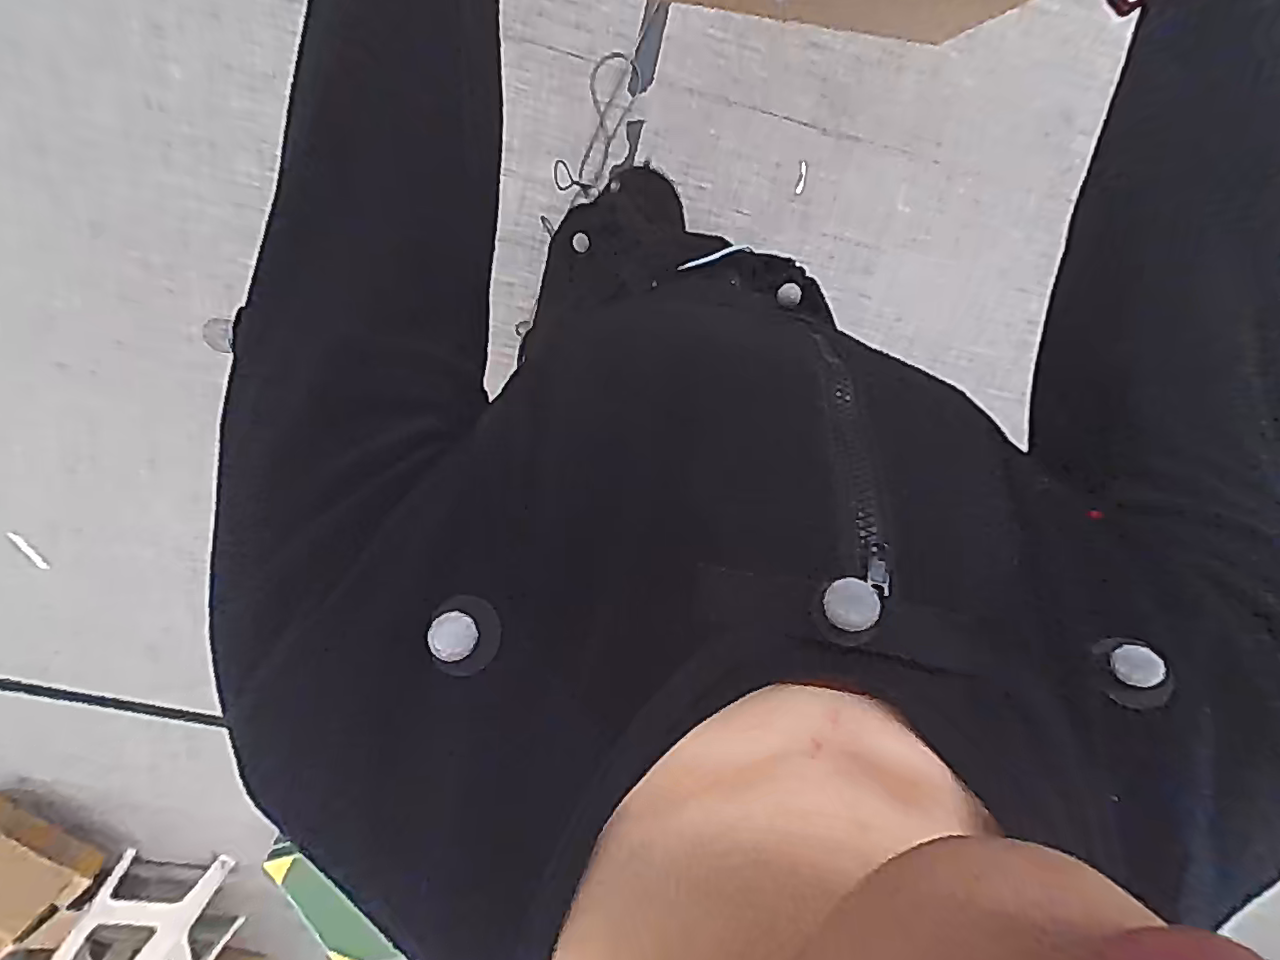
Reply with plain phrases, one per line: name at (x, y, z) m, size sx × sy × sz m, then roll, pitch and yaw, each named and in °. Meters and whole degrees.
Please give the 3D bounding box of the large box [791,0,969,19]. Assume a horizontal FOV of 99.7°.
large box at (0.147, -0.584, 0.388) m, size 0.408 × 0.320 × 0.320 m, roll 9°, pitch 119°, yaw -1°
